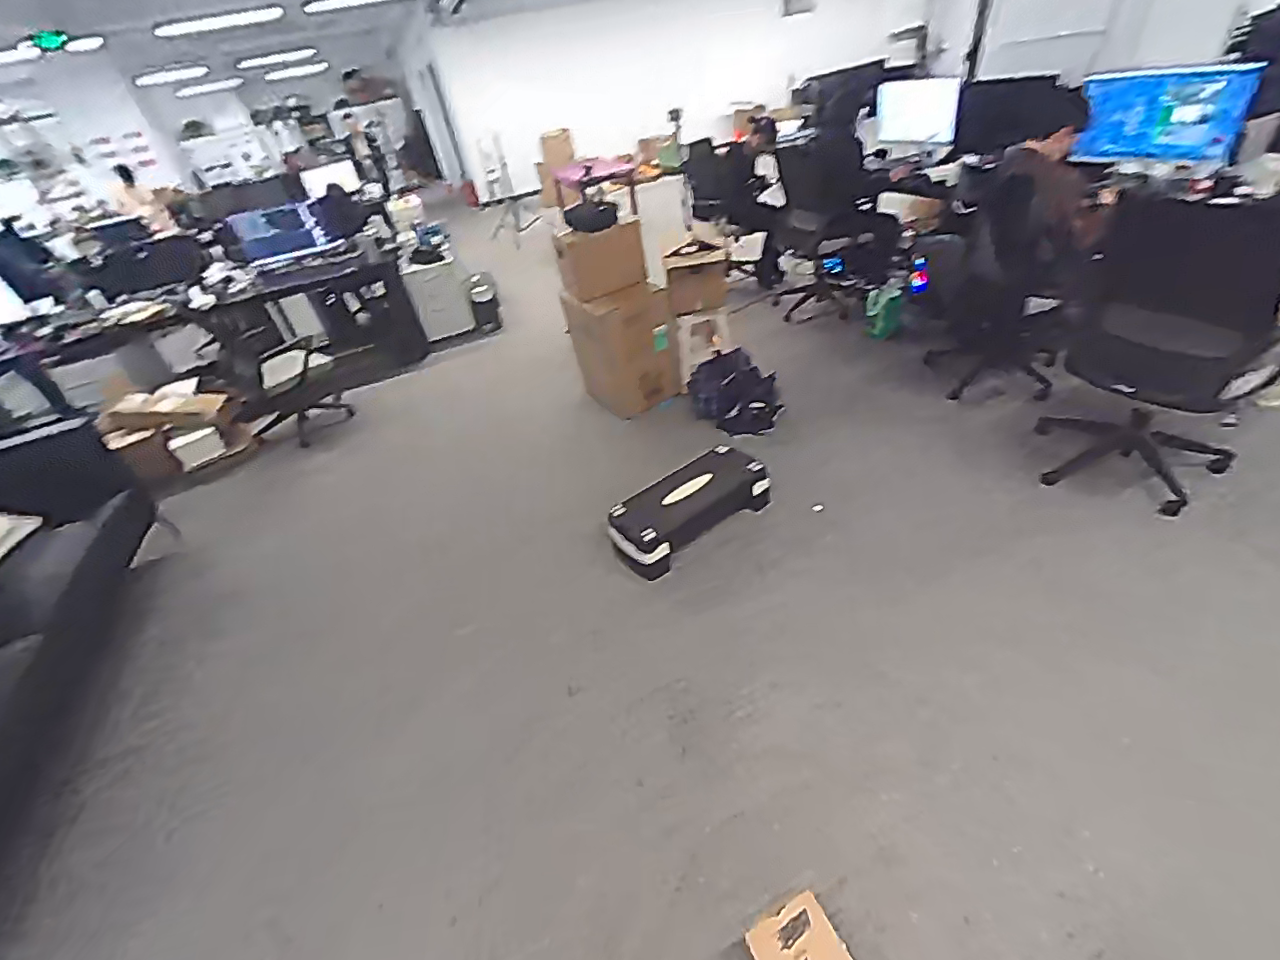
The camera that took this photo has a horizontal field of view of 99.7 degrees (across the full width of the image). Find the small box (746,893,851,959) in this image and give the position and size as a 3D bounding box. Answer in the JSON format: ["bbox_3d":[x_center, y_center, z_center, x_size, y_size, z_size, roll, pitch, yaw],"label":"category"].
[{"bbox_3d":[0.330,0.990,1.084,0.168,0.176,0.179,-23,38,-13],"label":"small box"}]
